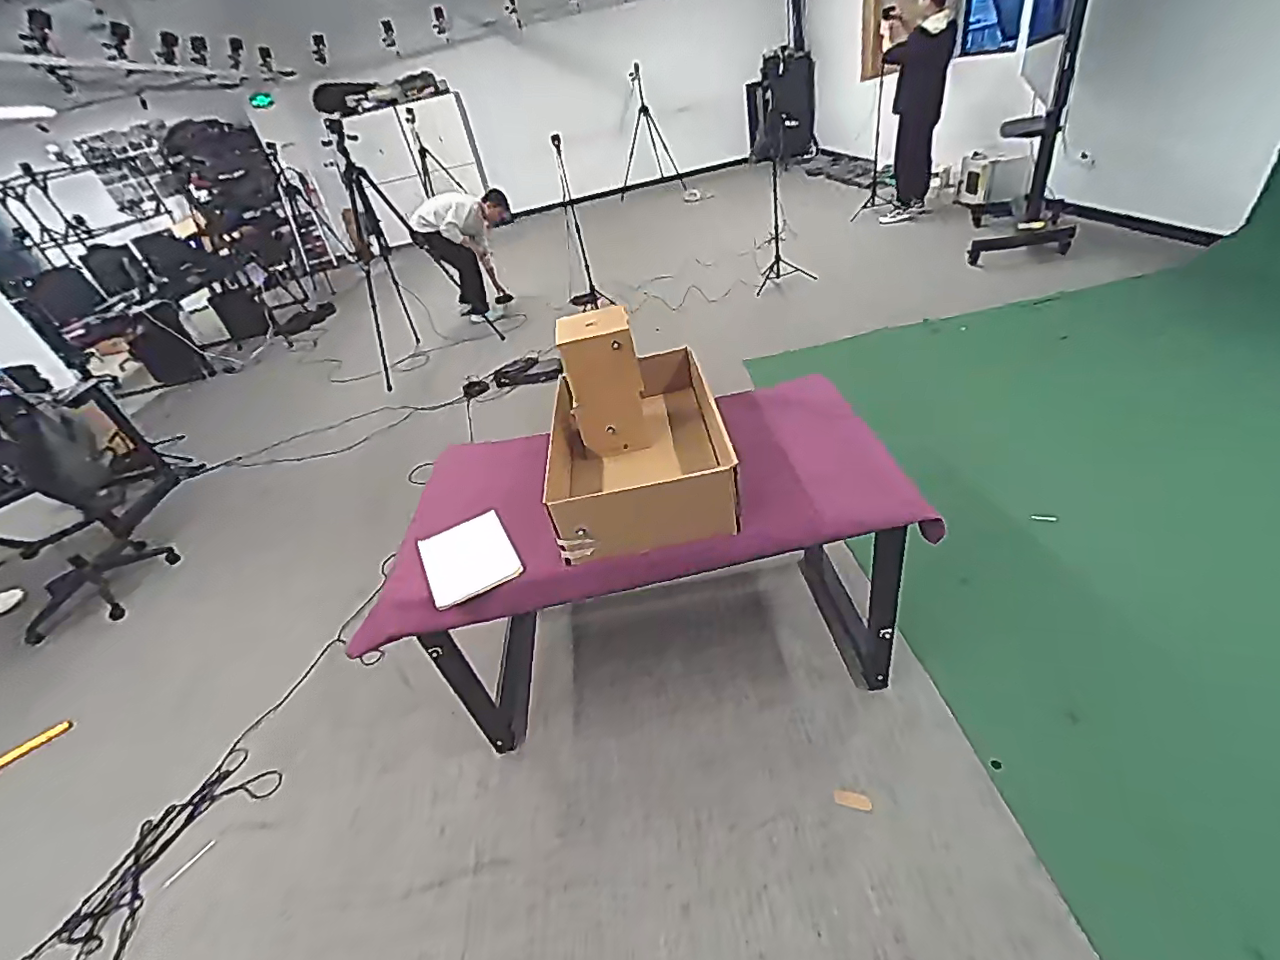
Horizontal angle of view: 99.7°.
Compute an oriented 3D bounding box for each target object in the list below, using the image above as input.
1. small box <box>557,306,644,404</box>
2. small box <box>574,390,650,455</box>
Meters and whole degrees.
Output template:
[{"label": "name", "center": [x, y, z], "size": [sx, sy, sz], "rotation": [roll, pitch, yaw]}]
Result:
[{"label": "small box", "center": [-0.097, -0.305, 1.335], "size": [0.179, 0.176, 0.168], "rotation": [-13, 37, 1]}, {"label": "small box", "center": [-0.071, -0.180, 1.435], "size": [0.168, 0.176, 0.179], "rotation": [-11, 38, 4]}]
